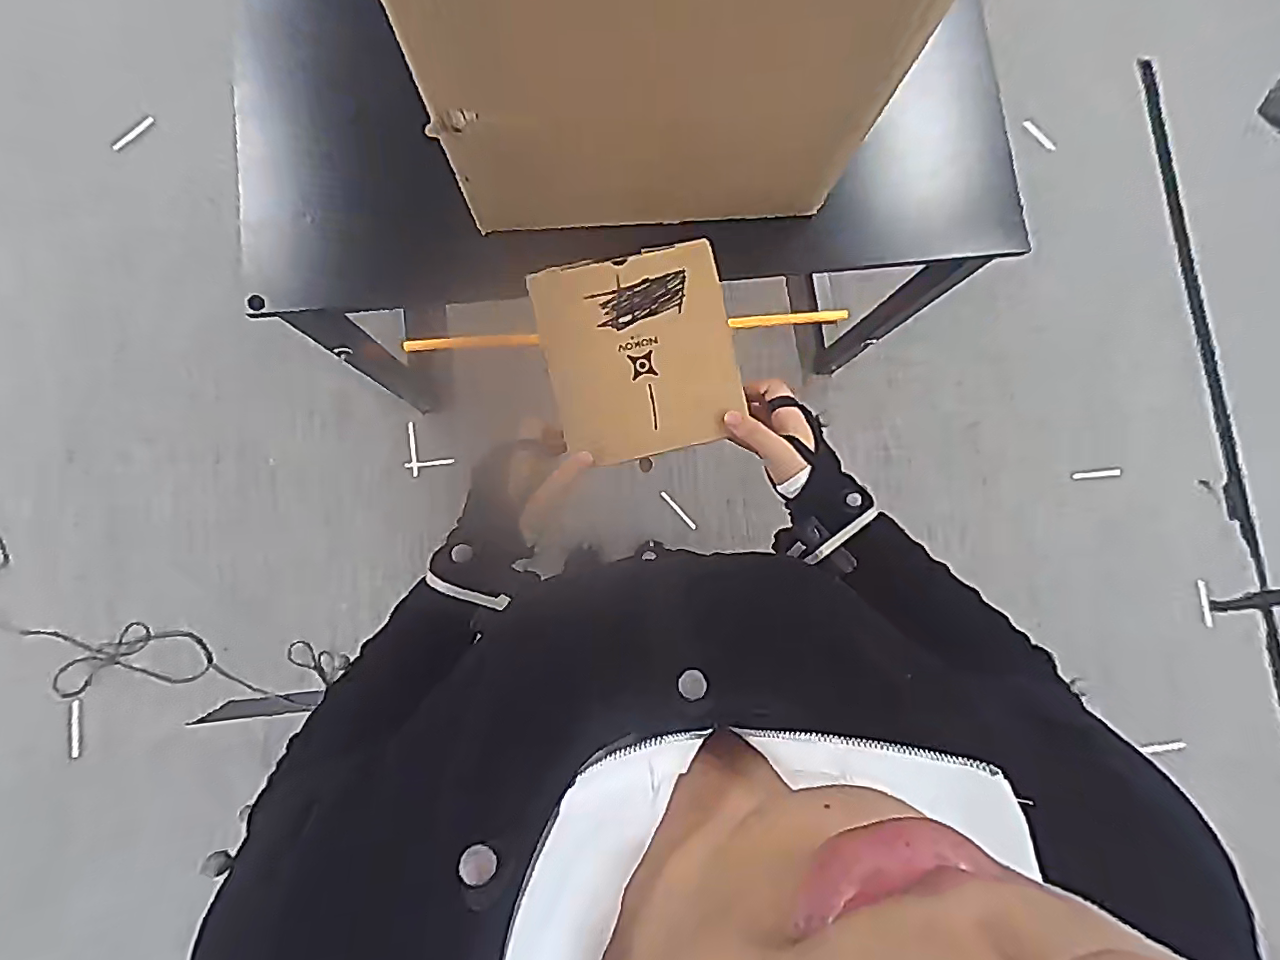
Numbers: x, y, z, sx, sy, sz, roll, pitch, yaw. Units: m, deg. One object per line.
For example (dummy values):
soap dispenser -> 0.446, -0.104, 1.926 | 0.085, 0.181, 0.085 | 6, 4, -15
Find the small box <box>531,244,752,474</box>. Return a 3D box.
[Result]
small box -> -0.006, -0.108, 0.550 | 0.168, 0.176, 0.179 | -14, 93, -5
